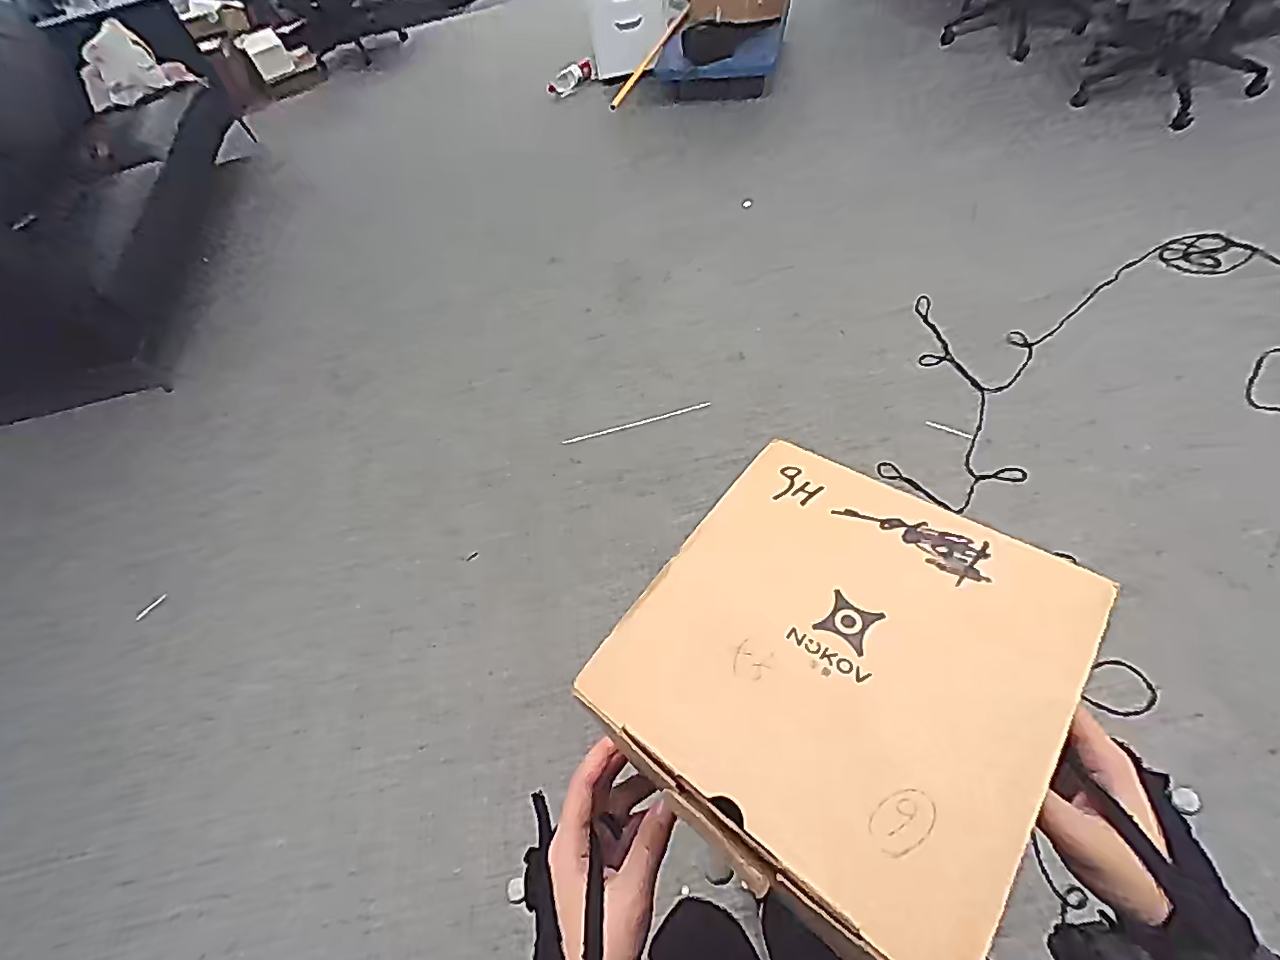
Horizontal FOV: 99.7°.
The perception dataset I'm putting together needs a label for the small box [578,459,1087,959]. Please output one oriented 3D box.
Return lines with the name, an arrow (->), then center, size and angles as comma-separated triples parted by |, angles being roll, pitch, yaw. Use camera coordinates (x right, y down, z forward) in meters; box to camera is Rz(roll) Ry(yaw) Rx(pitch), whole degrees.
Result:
small box -> 0.098, 0.127, 0.306 | 0.168, 0.176, 0.179 | 28, 62, 30
